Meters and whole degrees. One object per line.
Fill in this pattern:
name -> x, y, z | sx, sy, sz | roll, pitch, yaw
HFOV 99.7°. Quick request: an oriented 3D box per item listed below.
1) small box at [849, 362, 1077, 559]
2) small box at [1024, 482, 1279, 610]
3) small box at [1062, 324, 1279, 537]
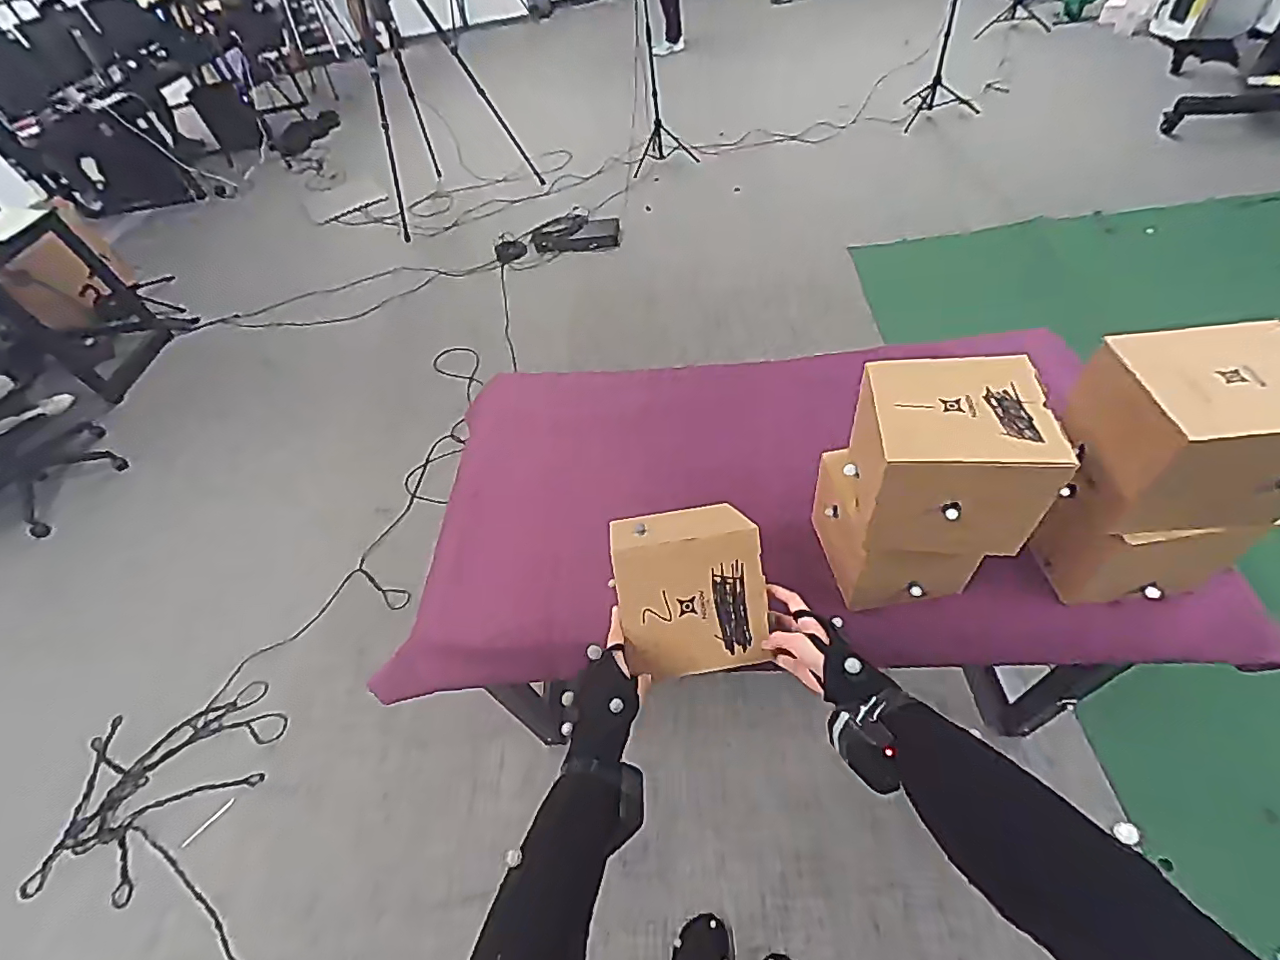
small box -> 0.356, -0.019, 0.639 | 0.179, 0.176, 0.168 | 0, 50, 13
small box -> 0.659, 0.059, 0.729 | 0.179, 0.176, 0.168 | -9, 49, 5
small box -> 0.622, -0.049, 0.611 | 0.179, 0.176, 0.168 | -5, 50, 9
